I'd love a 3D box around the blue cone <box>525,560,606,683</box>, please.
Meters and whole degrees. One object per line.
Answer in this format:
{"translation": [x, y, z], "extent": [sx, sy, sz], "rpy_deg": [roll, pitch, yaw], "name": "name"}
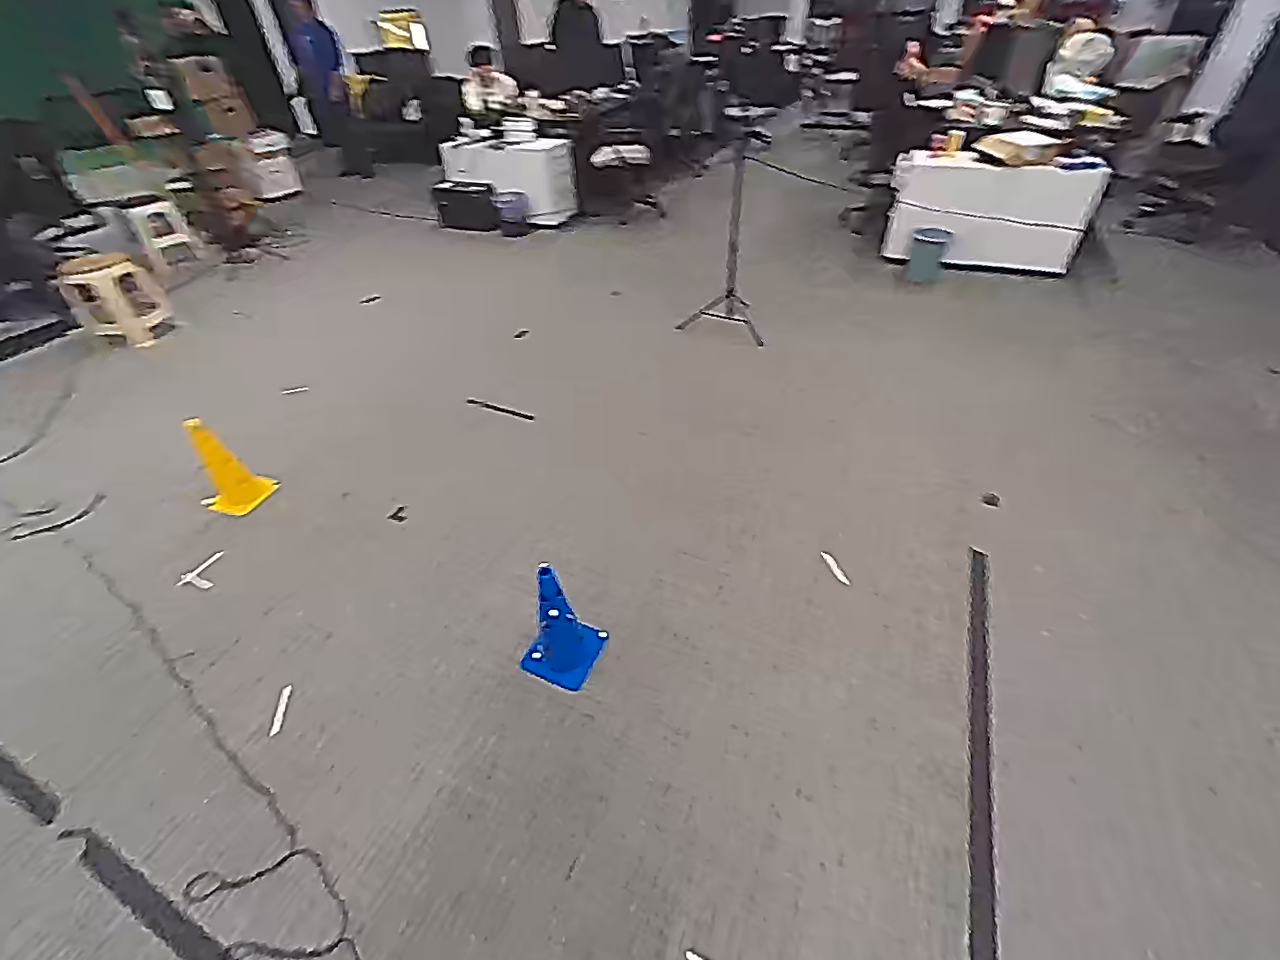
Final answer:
{"translation": [-0.222, 0.361, 1.460], "extent": [0.193, 0.380, 0.192], "rpy_deg": [16, 43, 21], "name": "blue cone"}
